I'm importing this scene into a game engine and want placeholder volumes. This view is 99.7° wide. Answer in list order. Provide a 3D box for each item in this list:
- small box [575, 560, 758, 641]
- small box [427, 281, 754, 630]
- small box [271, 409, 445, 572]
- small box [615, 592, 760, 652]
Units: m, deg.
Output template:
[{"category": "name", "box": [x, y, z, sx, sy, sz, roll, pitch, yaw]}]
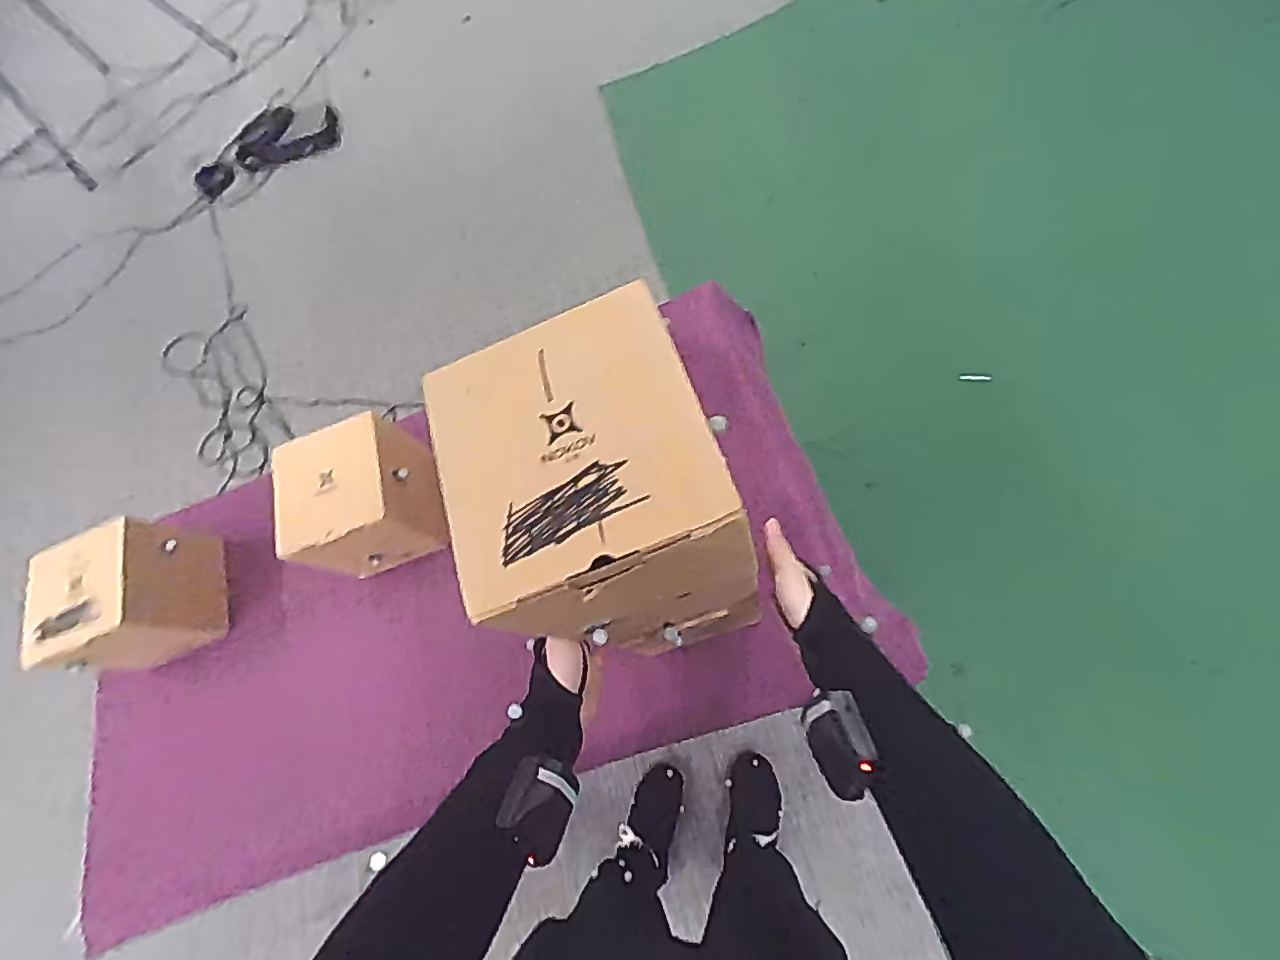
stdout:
[{"category": "small box", "box": [0.011, 0.052, 0.547, 0.168, 0.176, 0.179, -20, 68, 6]}, {"category": "small box", "box": [-0.024, 0.001, 0.395, 0.168, 0.176, 0.179, -22, 66, 5]}, {"category": "small box", "box": [-0.423, 0.024, 0.827, 0.168, 0.176, 0.179, -20, 69, 4]}, {"category": "small box", "box": [0.047, 0.110, 0.695, 0.168, 0.176, 0.179, -19, 67, 6]}]
